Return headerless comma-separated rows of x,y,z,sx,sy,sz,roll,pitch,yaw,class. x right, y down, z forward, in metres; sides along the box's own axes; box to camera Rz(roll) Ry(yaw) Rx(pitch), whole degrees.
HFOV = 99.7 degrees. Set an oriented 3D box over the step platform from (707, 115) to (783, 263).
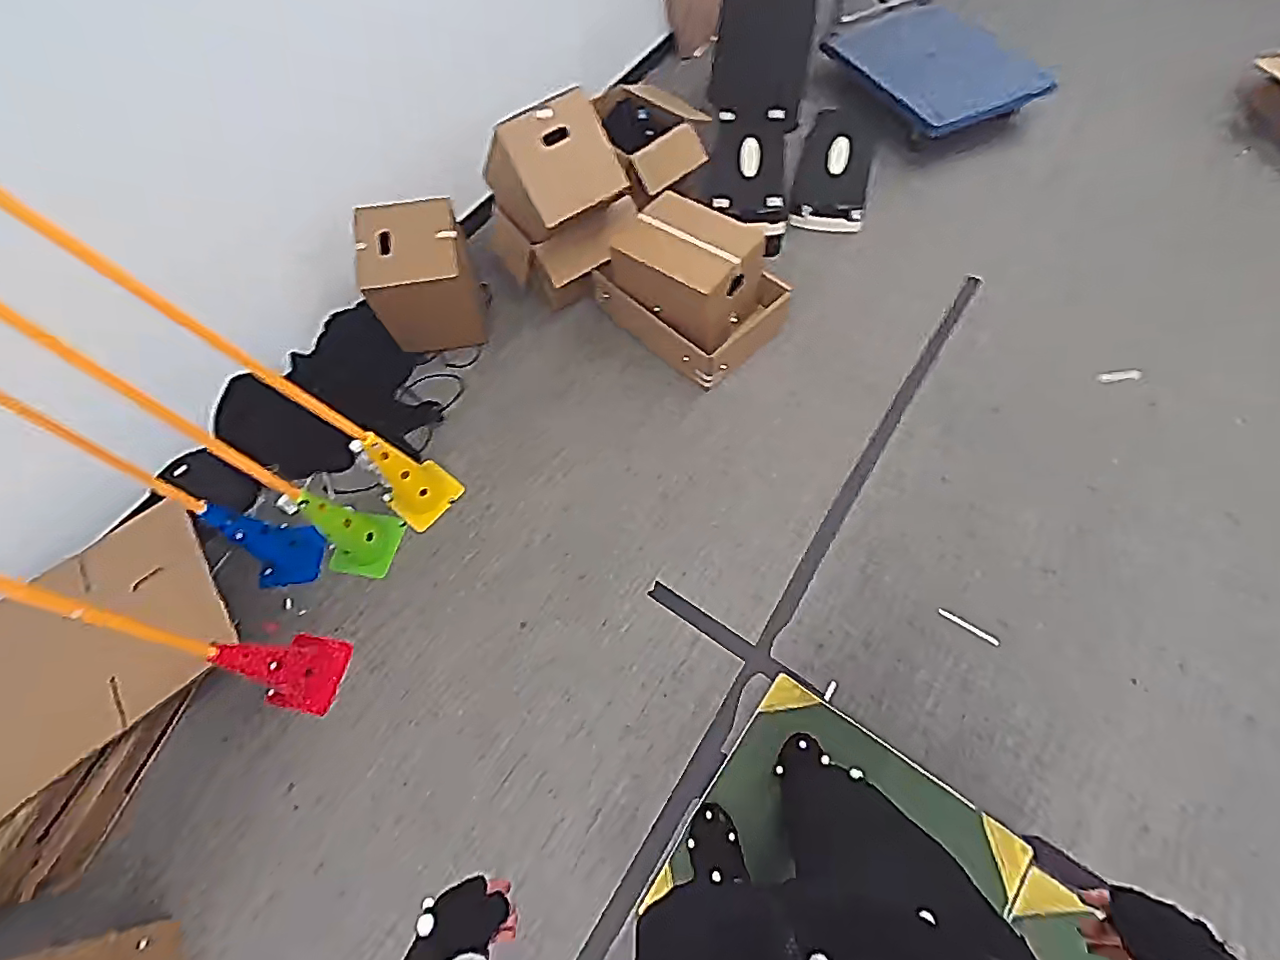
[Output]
0.430,-1.199,2.195,0.286,0.204,0.684,3,64,8,step platform
